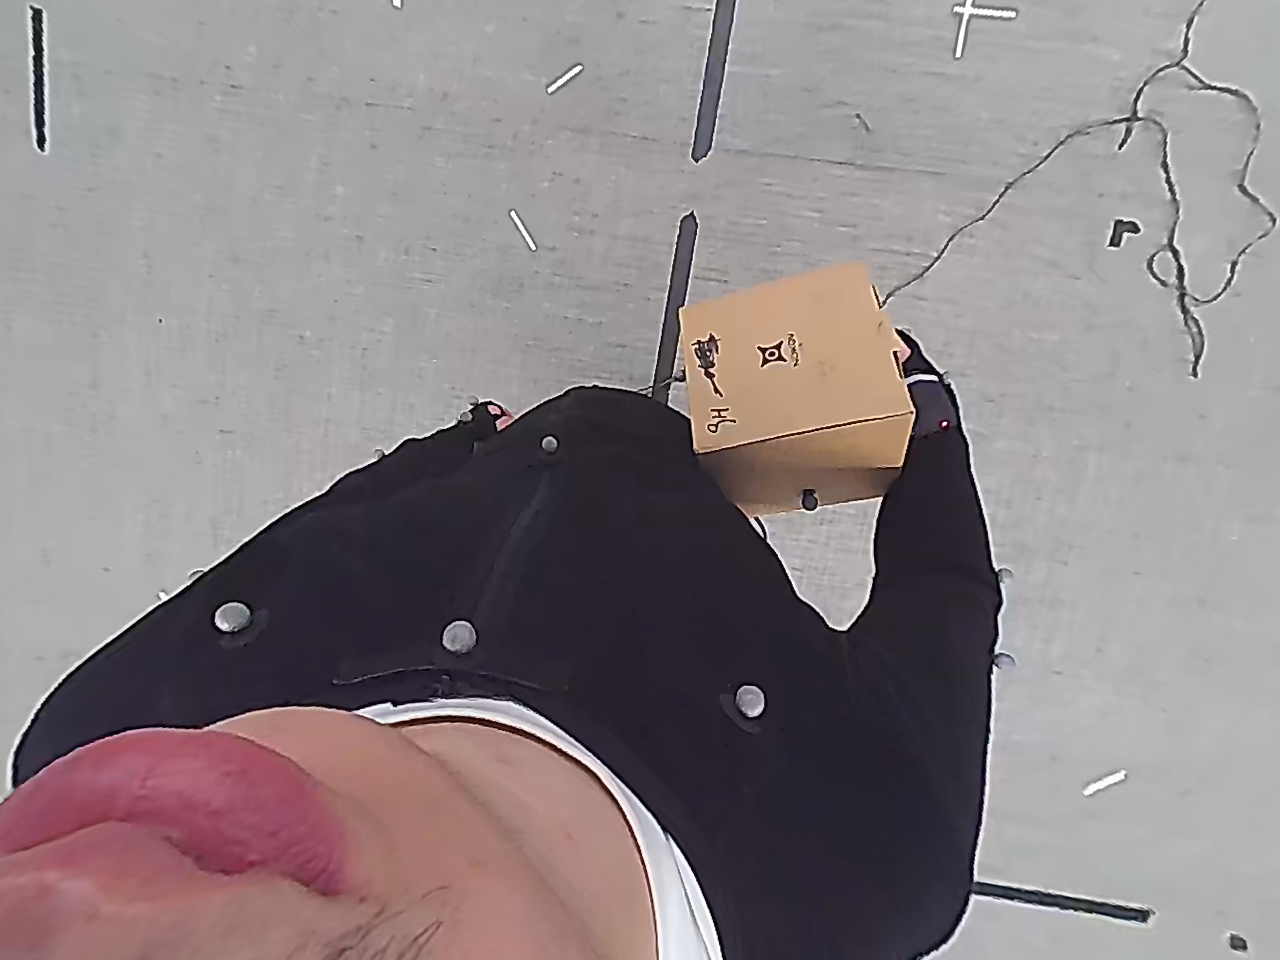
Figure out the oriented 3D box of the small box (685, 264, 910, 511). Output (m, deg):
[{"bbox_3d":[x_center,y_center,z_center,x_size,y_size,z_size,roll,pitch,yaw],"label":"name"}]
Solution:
[{"bbox_3d":[0.154,-0.081,0.554,0.179,0.176,0.168,-11,62,15],"label":"small box"}]
